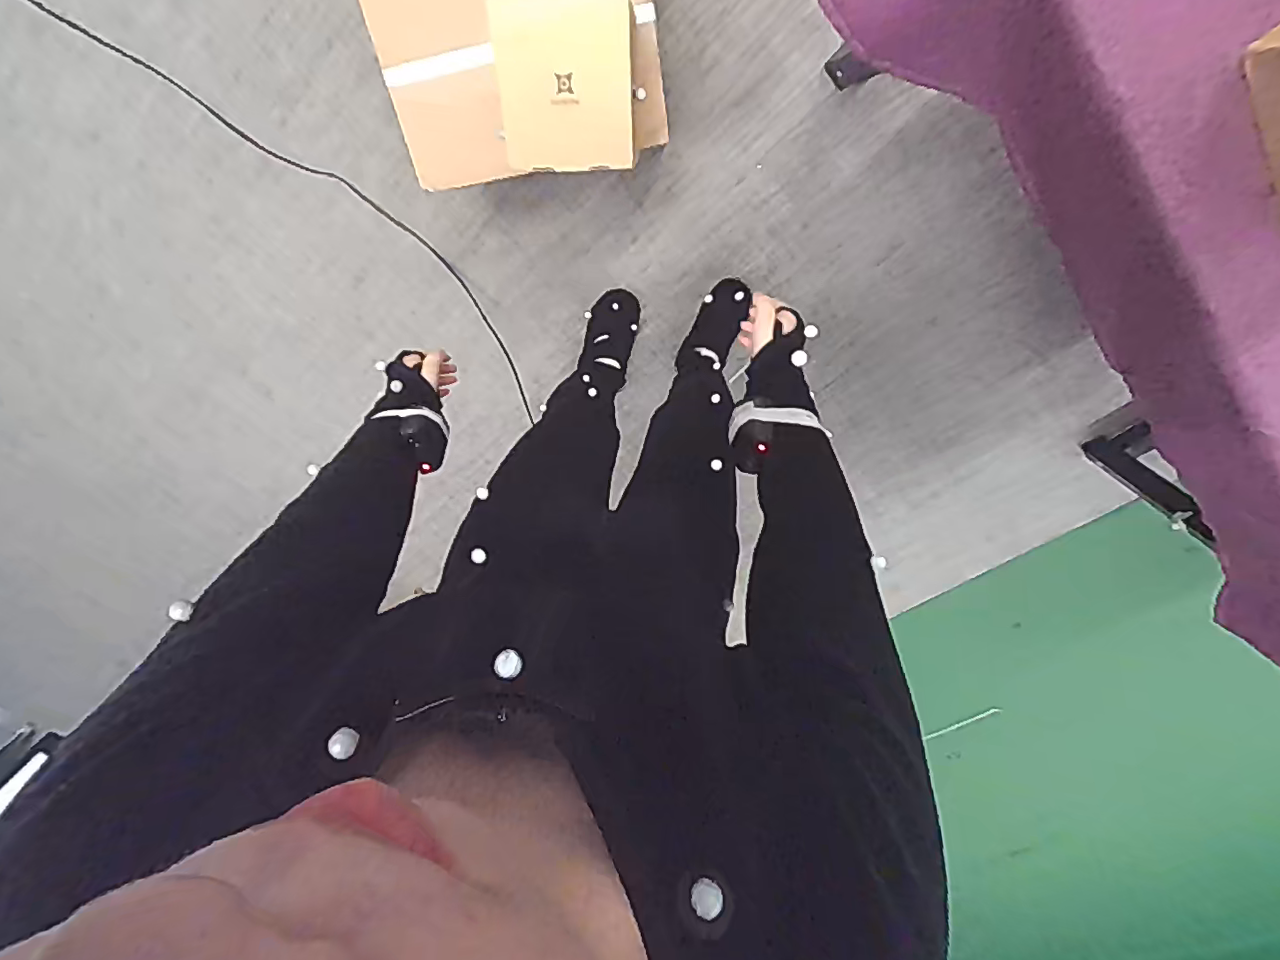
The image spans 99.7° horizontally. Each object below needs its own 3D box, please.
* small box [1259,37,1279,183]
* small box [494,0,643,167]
[{"bbox_3d":[0.583,-0.274,0.354,0.168,0.176,0.179,-36,114,23],"label":"small box"},{"bbox_3d":[-0.083,-0.529,0.722,0.168,0.176,0.179,0,127,3],"label":"small box"}]
